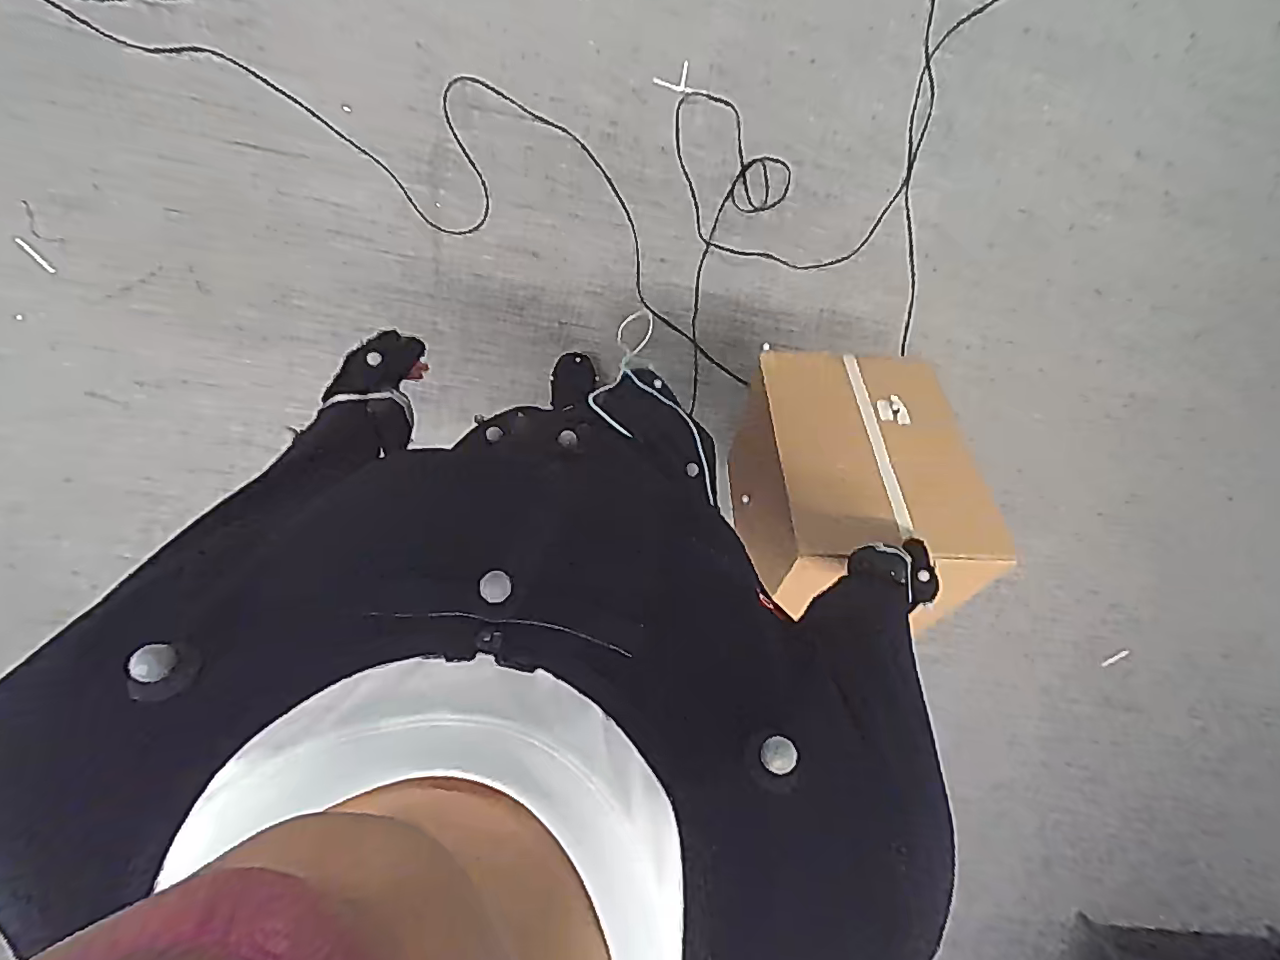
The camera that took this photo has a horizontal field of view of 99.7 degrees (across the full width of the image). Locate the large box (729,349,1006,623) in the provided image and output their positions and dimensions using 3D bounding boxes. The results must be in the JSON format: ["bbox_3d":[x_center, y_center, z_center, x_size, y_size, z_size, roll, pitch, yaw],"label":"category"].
[{"bbox_3d":[0.356,0.019,0.985,0.320,0.408,0.320,2,145,-3],"label":"large box"}]
